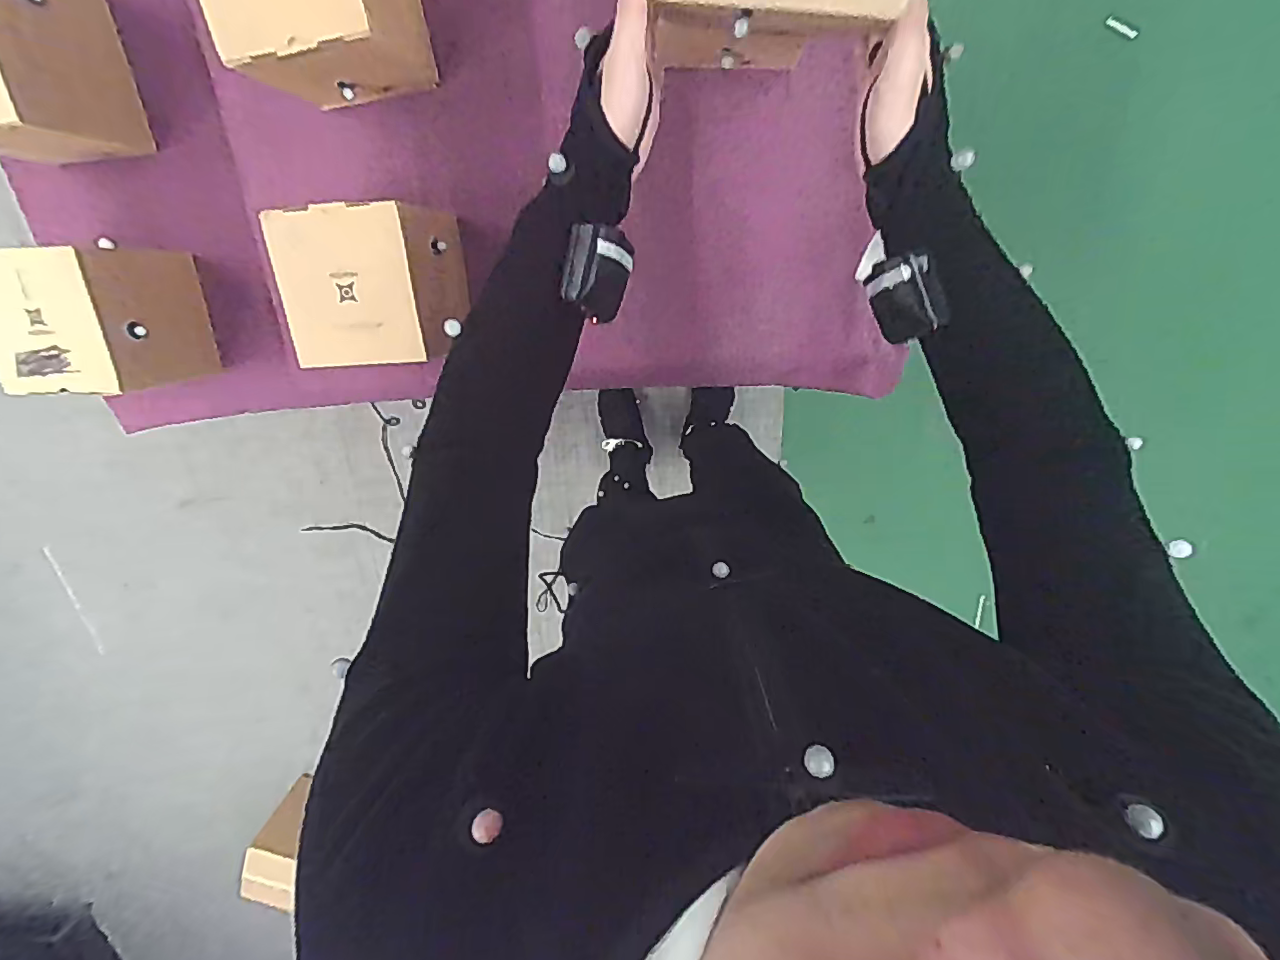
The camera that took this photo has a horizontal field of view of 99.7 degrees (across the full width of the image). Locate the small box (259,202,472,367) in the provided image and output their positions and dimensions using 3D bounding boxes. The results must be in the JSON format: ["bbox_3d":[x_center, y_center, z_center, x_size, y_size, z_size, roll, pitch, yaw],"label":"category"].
[{"bbox_3d":[-0.333,-0.246,0.695,0.168,0.176,0.179,-1,111,5],"label":"small box"}]

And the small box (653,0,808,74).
[{"bbox_3d":[0.102,-0.547,0.547,0.168,0.176,0.179,4,112,3],"label":"small box"}]

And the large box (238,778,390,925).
[{"bbox_3d":[-1.284,1.462,2.148,0.408,0.320,0.320,20,112,-5],"label":"large box"}]

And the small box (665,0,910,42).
[{"bbox_3d":[0.101,-0.416,0.356,0.168,0.176,0.179,7,125,2],"label":"small box"}]

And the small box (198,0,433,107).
[{"bbox_3d":[-0.350,-0.536,0.582,0.168,0.176,0.179,-6,112,5],"label":"small box"}]

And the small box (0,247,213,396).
[{"bbox_3d":[-0.730,-0.216,0.729,0.168,0.176,0.179,0,110,3],"label":"small box"}]
